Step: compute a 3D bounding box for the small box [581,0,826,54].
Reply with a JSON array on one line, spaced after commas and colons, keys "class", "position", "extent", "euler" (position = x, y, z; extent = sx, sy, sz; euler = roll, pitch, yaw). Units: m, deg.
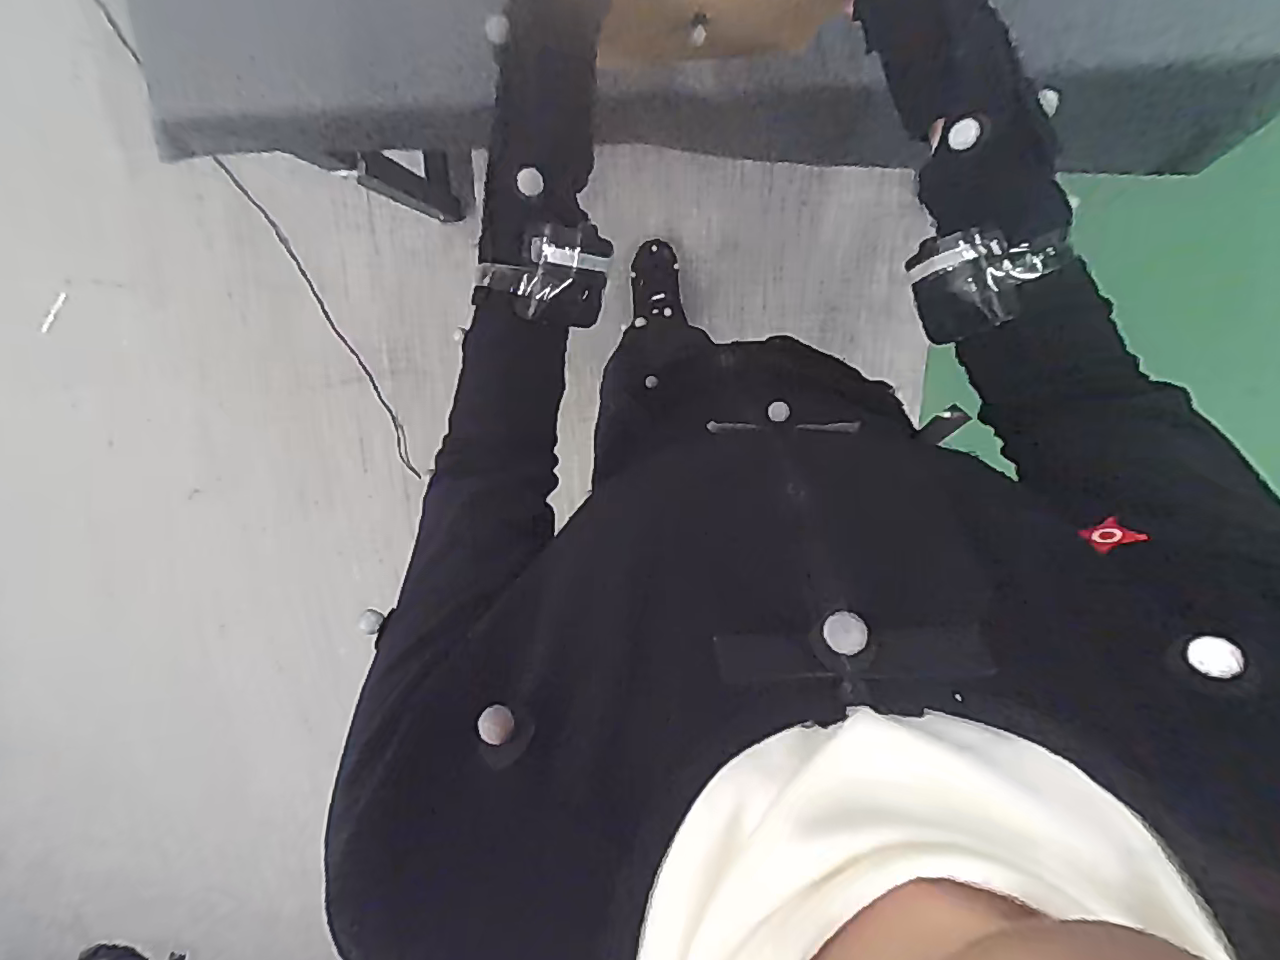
[{"class": "small box", "position": [0.044, -0.400, 0.343], "extent": [0.179, 0.176, 0.168], "euler": [-2, 114, 3]}]
